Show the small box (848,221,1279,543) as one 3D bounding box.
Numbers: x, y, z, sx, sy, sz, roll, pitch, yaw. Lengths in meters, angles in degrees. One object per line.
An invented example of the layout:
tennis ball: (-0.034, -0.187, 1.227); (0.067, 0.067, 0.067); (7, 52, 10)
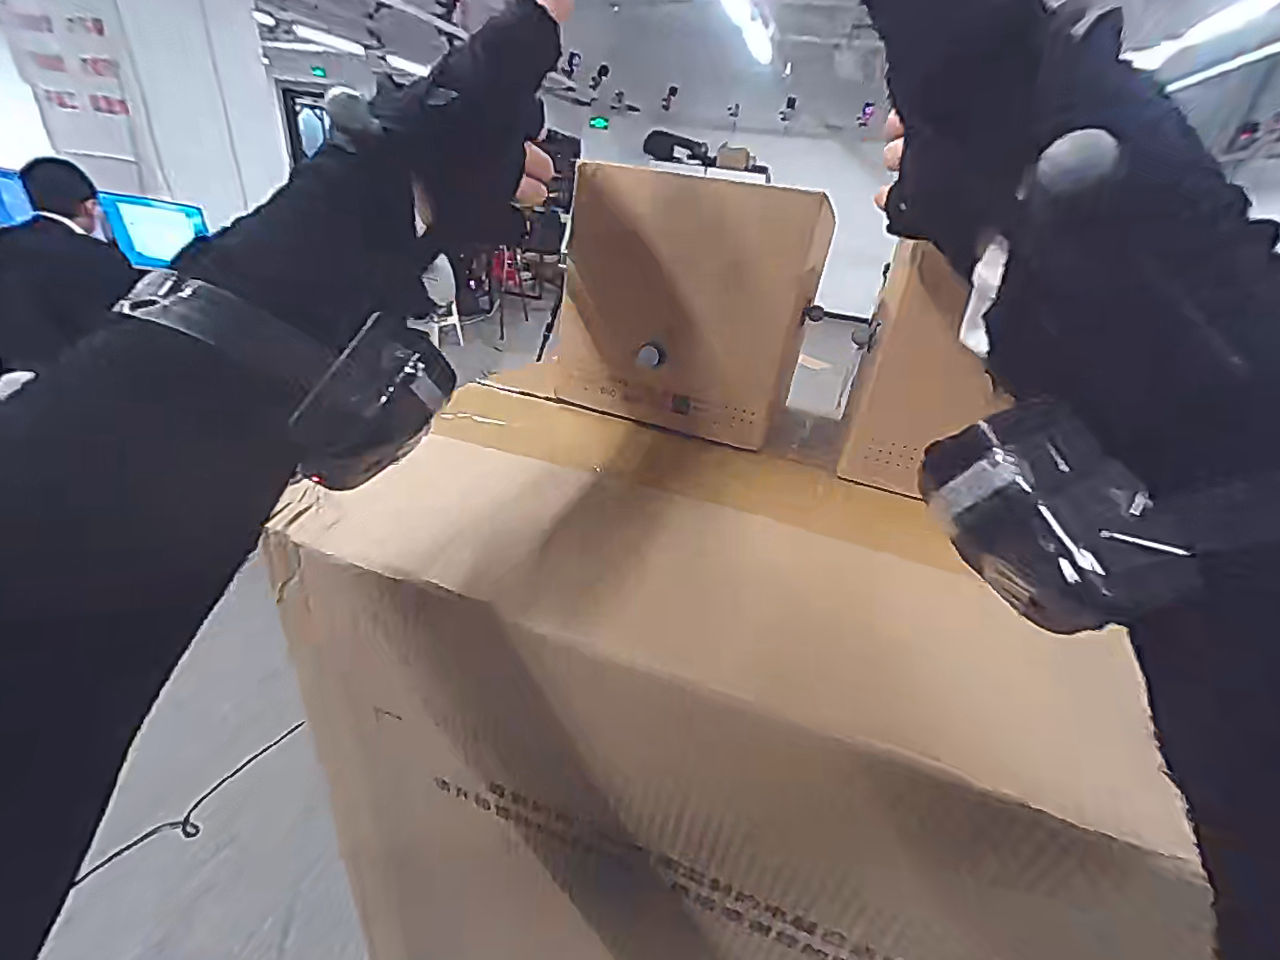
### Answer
small box: (0.259, -0.076, 0.387); (0.179, 0.176, 0.168); (17, 26, 15)
